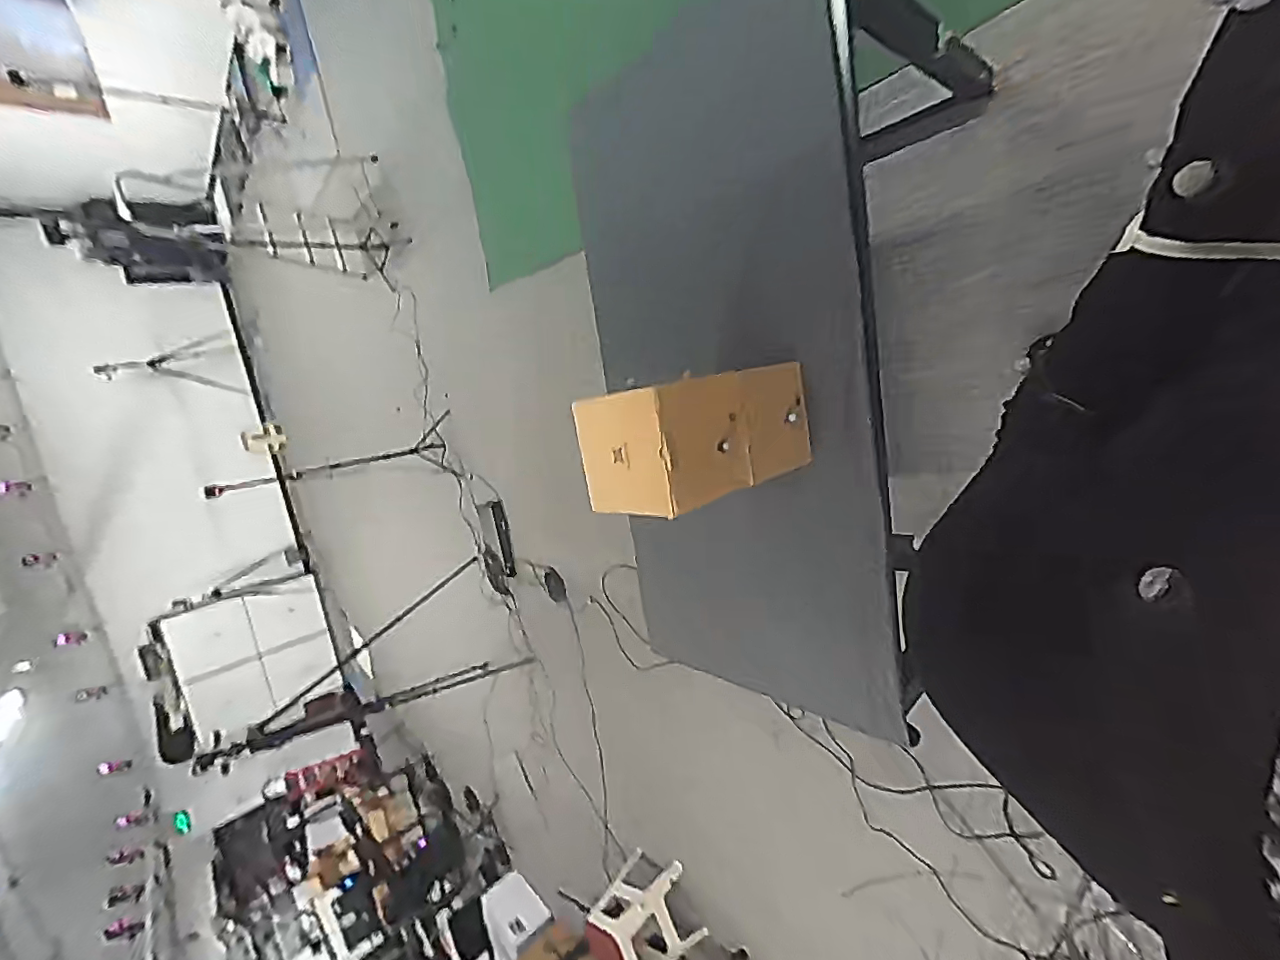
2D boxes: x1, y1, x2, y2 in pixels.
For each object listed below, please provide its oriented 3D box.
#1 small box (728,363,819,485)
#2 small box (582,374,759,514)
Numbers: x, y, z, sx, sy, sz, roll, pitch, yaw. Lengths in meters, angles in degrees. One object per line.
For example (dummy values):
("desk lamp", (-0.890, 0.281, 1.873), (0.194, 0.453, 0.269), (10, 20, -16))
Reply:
("small box", (0.164, -0.090, 0.884), (0.179, 0.176, 0.168), (-1, 103, 49))
("small box", (0.044, -0.053, 0.780), (0.179, 0.176, 0.168), (-2, 102, 49))
